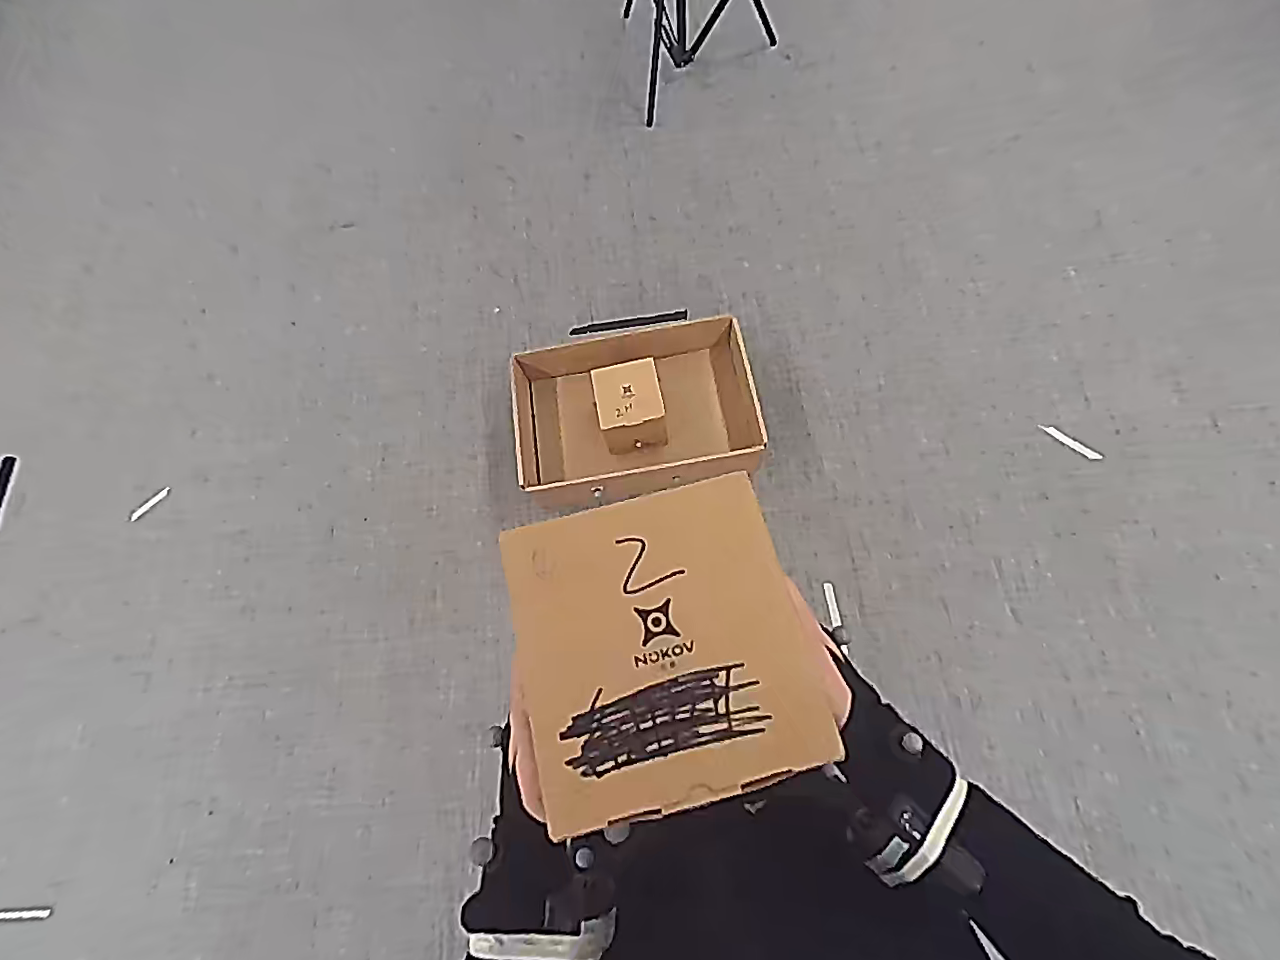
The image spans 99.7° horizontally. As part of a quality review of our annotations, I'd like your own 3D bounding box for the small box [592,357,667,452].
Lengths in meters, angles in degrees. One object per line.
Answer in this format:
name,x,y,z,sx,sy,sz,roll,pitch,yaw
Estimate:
small box,-0.025,-0.194,1.430,0.168,0.176,0.179,-12,70,2
